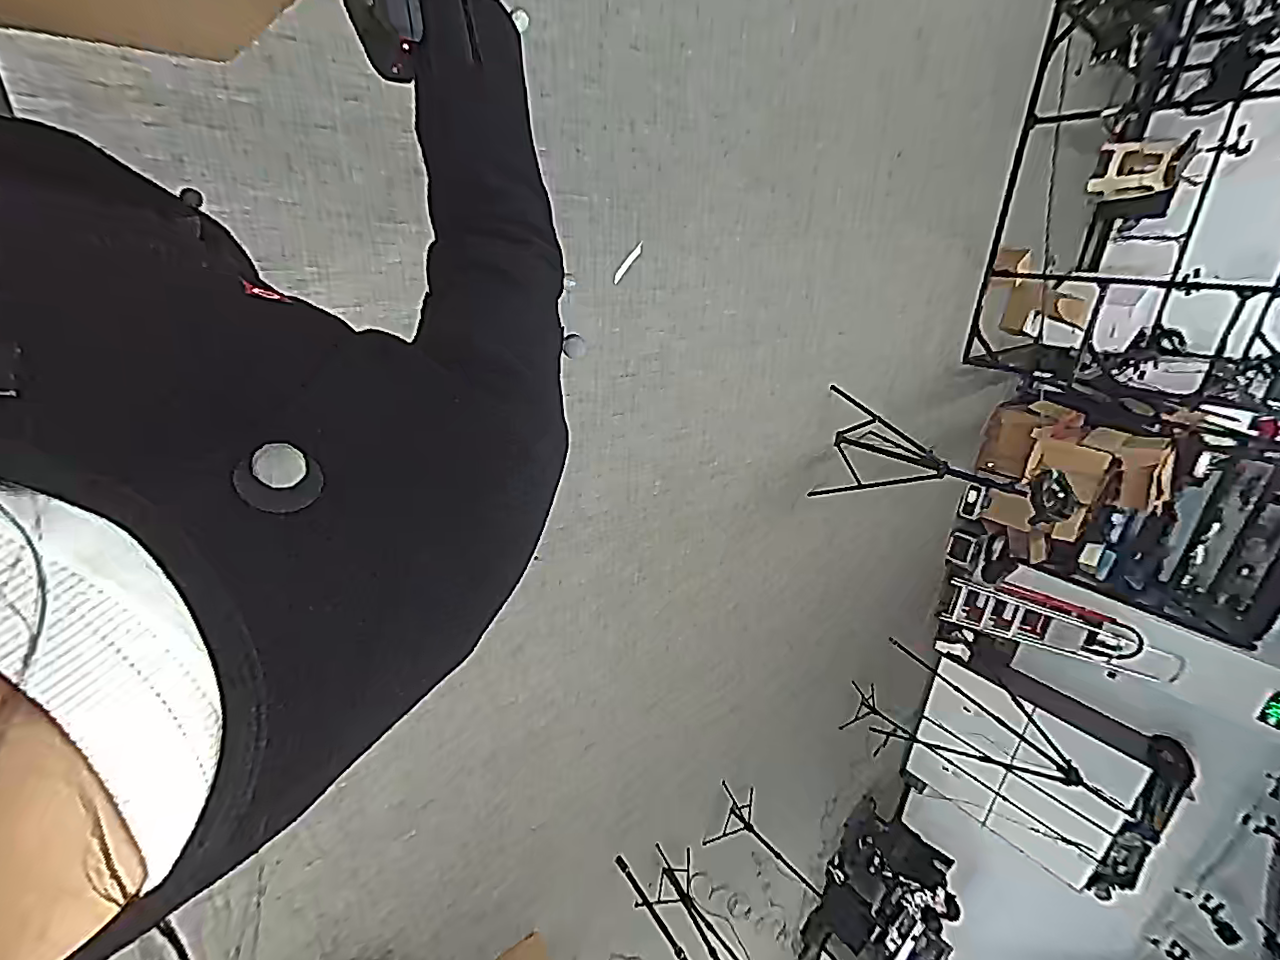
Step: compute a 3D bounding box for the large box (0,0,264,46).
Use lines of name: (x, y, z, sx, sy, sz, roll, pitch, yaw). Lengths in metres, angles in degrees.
large box: (-0.427, -0.425, 0.217, 0.408, 0.320, 0.320, -23, 126, -39)
